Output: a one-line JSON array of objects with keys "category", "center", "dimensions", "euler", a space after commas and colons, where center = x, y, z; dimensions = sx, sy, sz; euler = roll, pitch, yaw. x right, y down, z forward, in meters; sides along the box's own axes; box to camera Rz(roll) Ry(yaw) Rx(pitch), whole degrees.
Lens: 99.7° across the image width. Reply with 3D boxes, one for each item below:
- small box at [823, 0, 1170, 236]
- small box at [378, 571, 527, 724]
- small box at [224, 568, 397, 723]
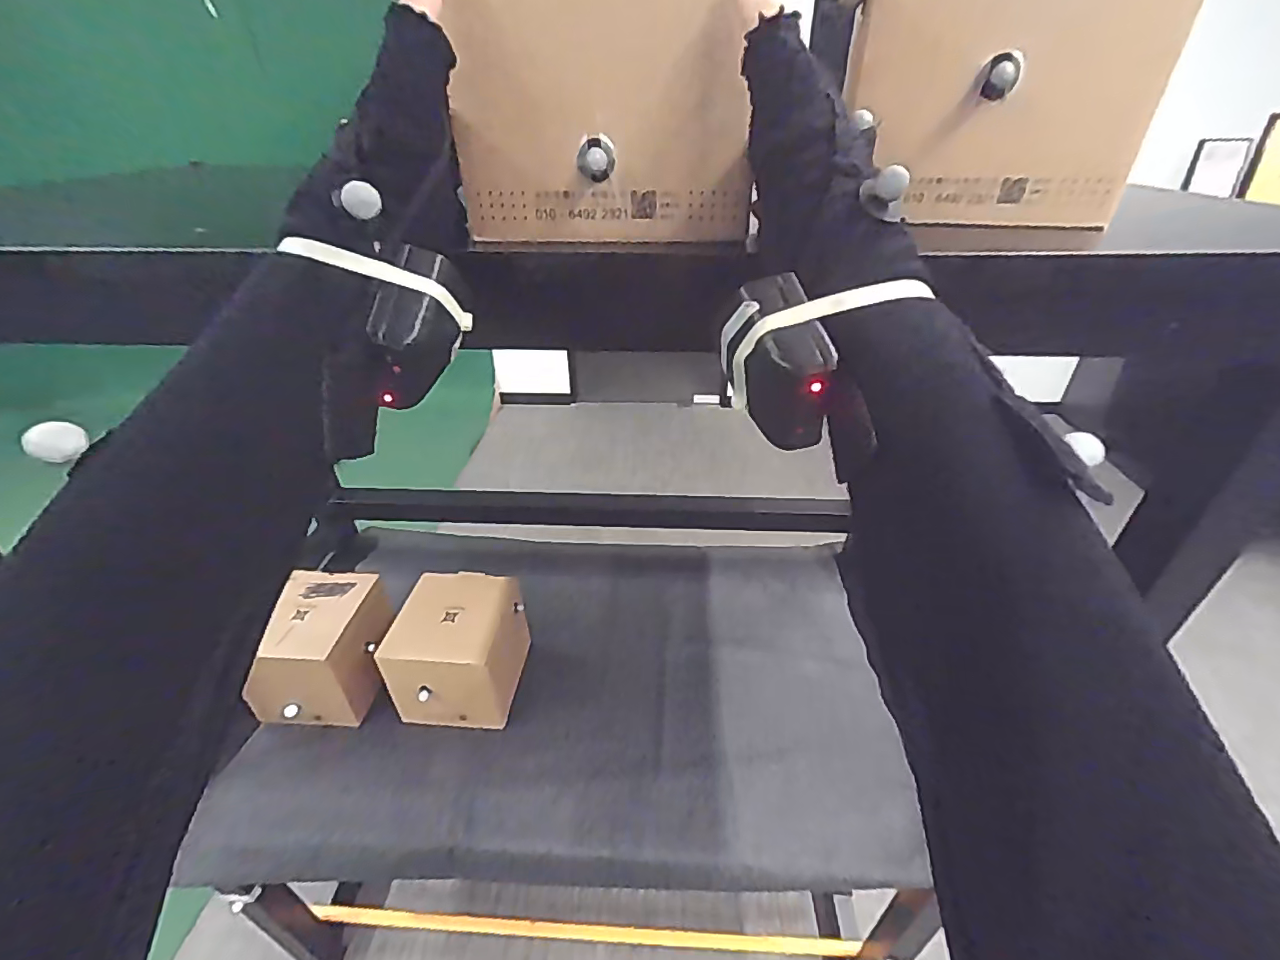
[{"category": "small box", "center": [0.233, -0.281, 0.391], "dimensions": [0.168, 0.176, 0.179], "euler": [8, 34, 12]}, {"category": "small box", "center": [-0.290, 0.273, 0.885], "dimensions": [0.168, 0.176, 0.179], "euler": [3, 34, 4]}, {"category": "small box", "center": [-0.517, 0.268, 0.887], "dimensions": [0.168, 0.176, 0.179], "euler": [2, 34, 3]}]
